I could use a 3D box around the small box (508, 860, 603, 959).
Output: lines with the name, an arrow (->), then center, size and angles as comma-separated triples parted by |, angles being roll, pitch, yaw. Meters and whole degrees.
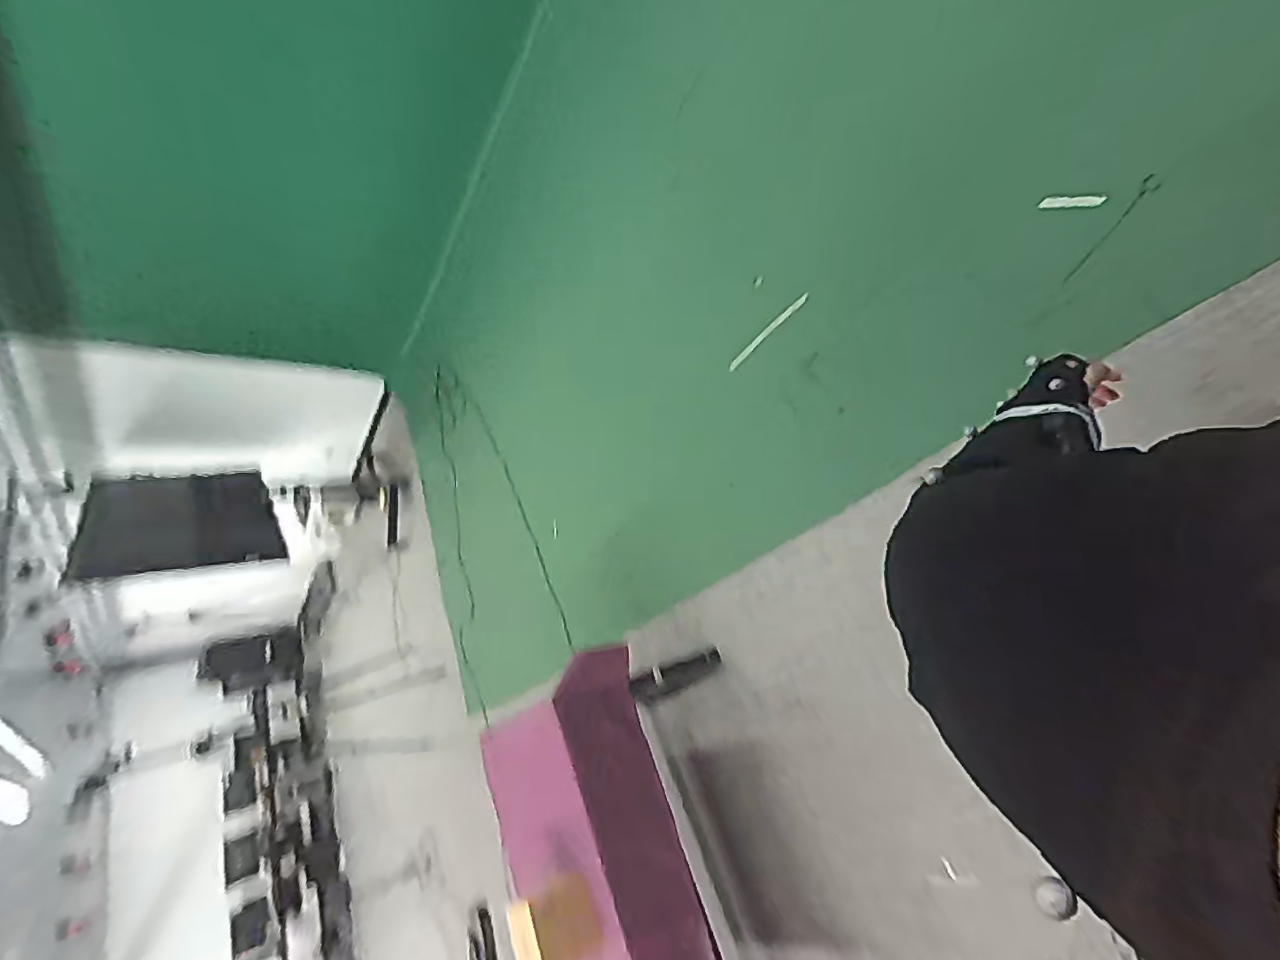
small box -> -0.228, 1.155, 1.456 | 0.168, 0.176, 0.179 | -45, 58, 41
